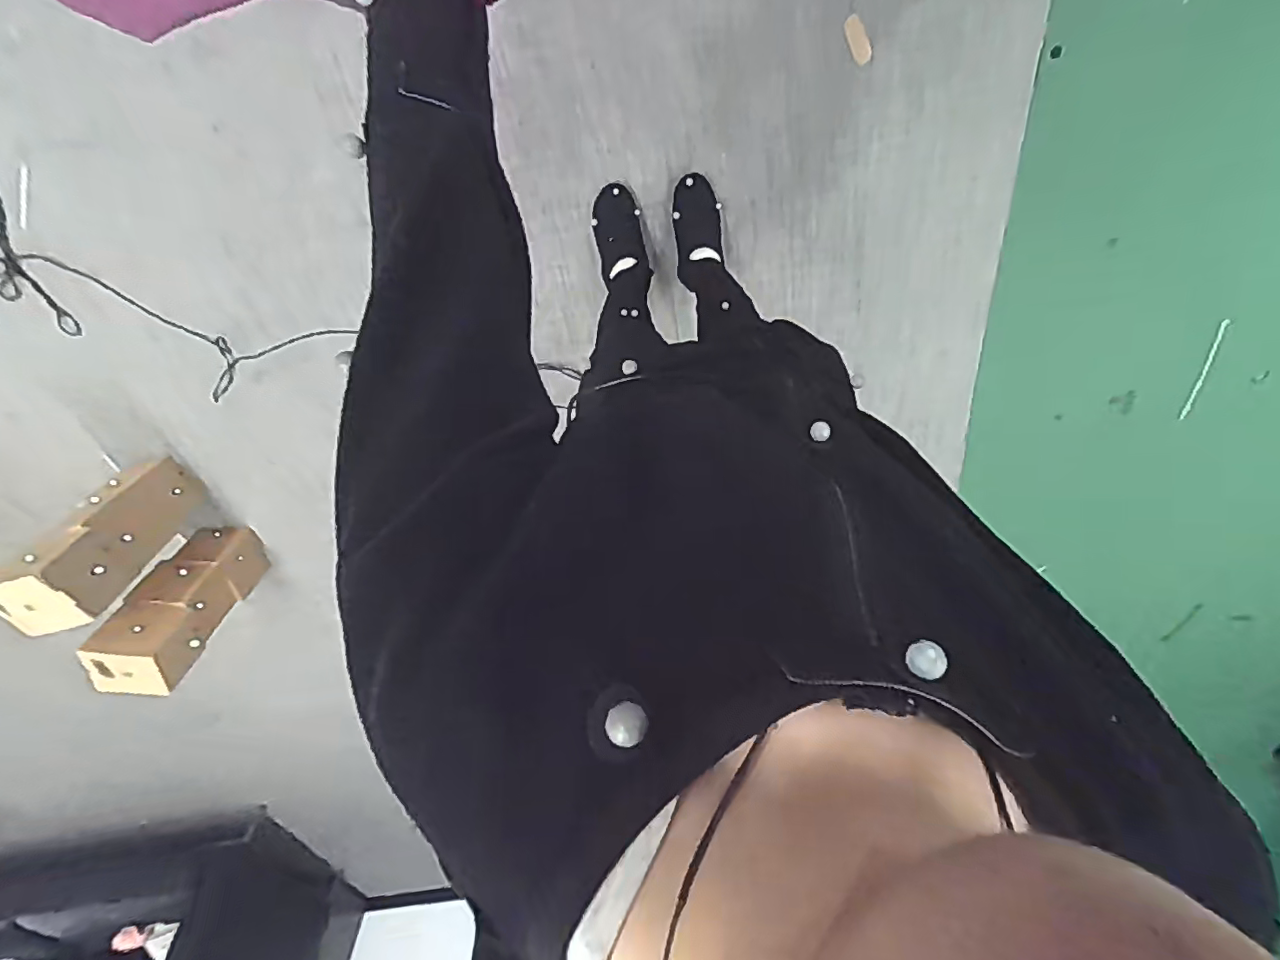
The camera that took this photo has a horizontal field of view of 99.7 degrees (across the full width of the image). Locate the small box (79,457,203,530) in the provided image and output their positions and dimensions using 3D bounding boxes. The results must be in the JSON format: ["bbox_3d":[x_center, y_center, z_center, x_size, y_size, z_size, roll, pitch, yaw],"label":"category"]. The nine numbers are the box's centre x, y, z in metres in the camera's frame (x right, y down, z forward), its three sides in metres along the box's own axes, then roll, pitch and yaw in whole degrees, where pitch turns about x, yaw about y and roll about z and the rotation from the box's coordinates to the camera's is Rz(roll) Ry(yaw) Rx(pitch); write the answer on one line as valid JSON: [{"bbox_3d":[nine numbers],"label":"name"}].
[{"bbox_3d":[-1.420,0.057,1.561,0.179,0.176,0.168,-16,124,8],"label":"small box"}]

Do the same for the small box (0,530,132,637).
[{"bbox_3d":[-1.386,0.242,1.294,0.179,0.176,0.168,-14,124,4],"label":"small box"}]

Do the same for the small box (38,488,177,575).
[{"bbox_3d":[-1.399,0.152,1.431,0.168,0.176,0.179,-20,124,10],"label":"small box"}]

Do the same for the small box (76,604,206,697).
[{"bbox_3d":[-1.320,0.452,1.444,0.179,0.176,0.168,8,123,-9],"label":"small box"}]

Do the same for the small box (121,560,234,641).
[{"bbox_3d":[-1.335,0.359,1.579,0.168,0.176,0.179,5,123,-5],"label":"small box"}]
